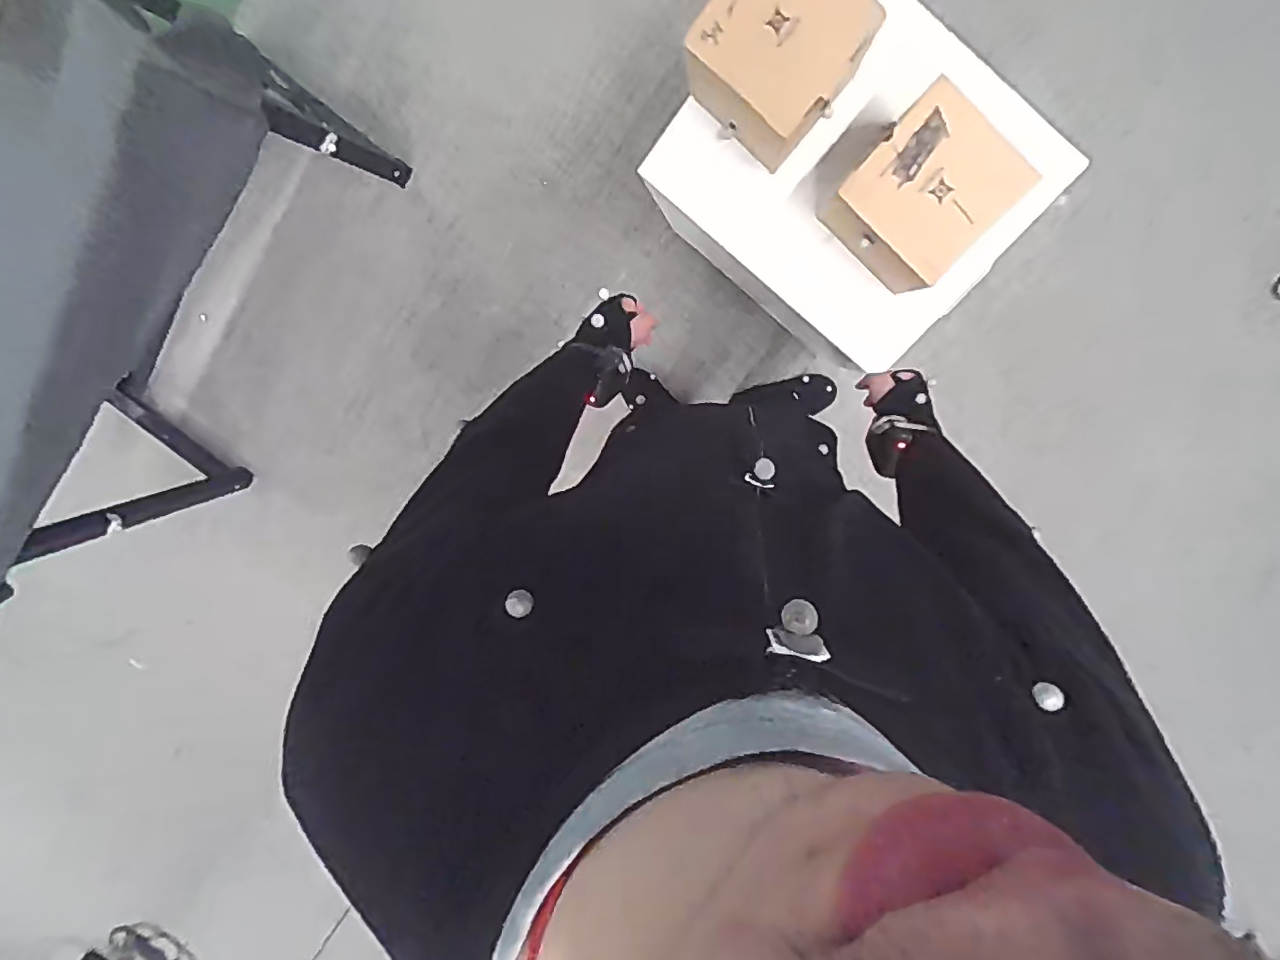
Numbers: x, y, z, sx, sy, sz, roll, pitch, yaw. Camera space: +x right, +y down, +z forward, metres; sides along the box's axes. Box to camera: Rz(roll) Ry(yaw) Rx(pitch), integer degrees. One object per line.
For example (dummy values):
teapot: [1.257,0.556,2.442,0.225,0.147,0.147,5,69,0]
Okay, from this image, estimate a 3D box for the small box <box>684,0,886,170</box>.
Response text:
small box: [0.179,-0.543,0.711,0.179,0.176,0.168,40,108,-5]

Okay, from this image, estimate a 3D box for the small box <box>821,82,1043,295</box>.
small box: [0.370,-0.368,0.727,0.179,0.176,0.168,43,108,-4]
